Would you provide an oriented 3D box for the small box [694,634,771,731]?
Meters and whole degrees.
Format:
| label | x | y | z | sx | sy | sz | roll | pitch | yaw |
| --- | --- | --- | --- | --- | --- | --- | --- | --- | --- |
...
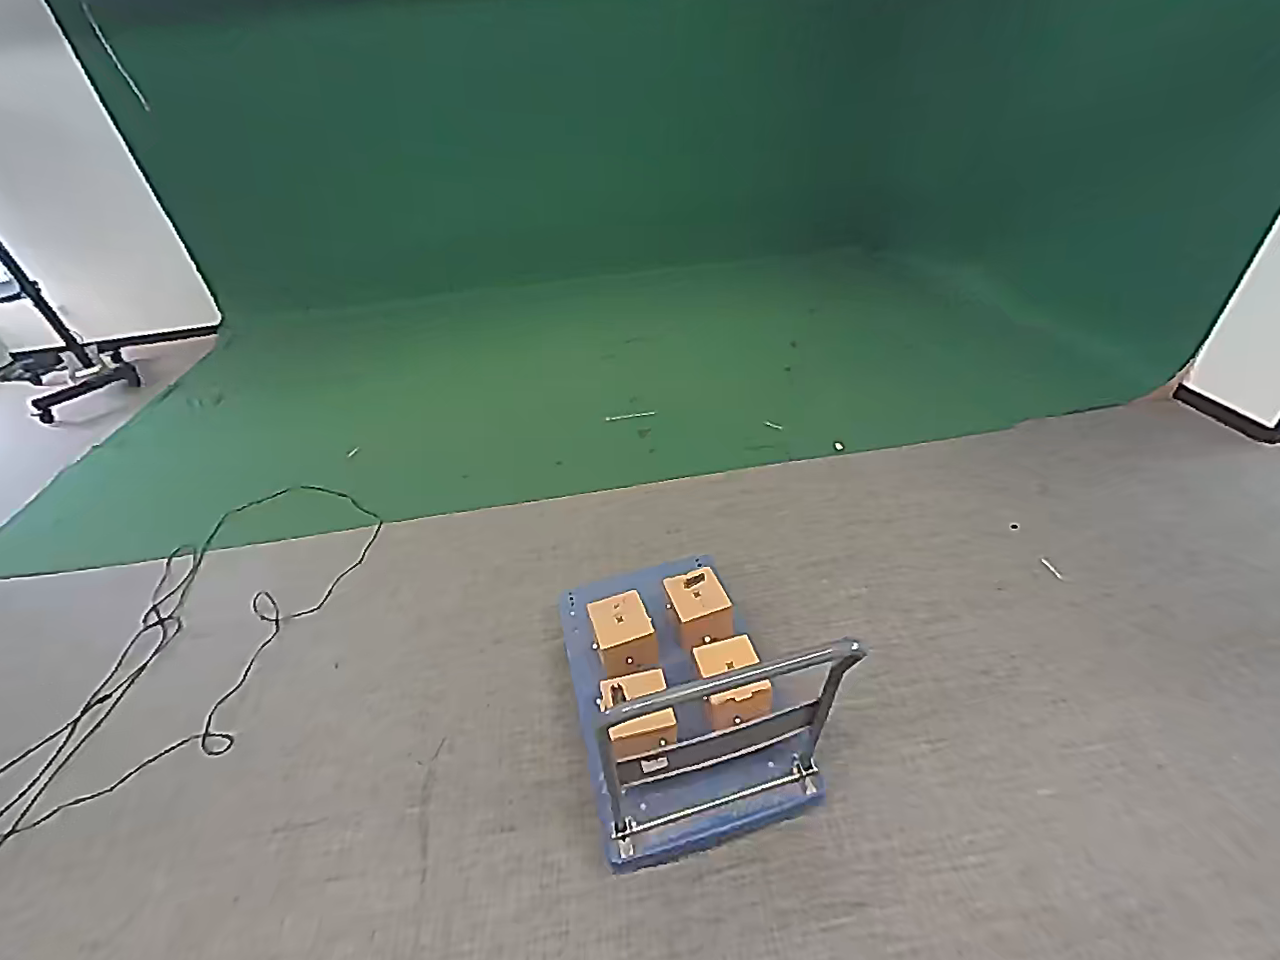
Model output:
| label | x | y | z | sx | sy | sz | roll | pitch | yaw |
| --- | --- | --- | --- | --- | --- | --- | --- | --- | --- |
| small box | 0.256 | 0.575 | 1.537 | 0.168 | 0.176 | 0.179 | -12 | 39 | -8 |

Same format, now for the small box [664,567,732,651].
| label | x | y | z | sx | sy | sz | roll | pitch | yaw |
| --- | --- | --- | --- | --- | --- | --- | --- | --- | --- |
| small box | 0.185 | 0.415 | 1.744 | 0.168 | 0.176 | 0.179 | -16 | 41 | -11 |

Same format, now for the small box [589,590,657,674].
| label | x | y | z | sx | sy | sz | roll | pitch | yaw |
| --- | --- | --- | --- | --- | --- | --- | --- | --- | --- |
| small box | -0.052 | 0.482 | 1.692 | 0.168 | 0.176 | 0.179 | -15 | 39 | -12 |
